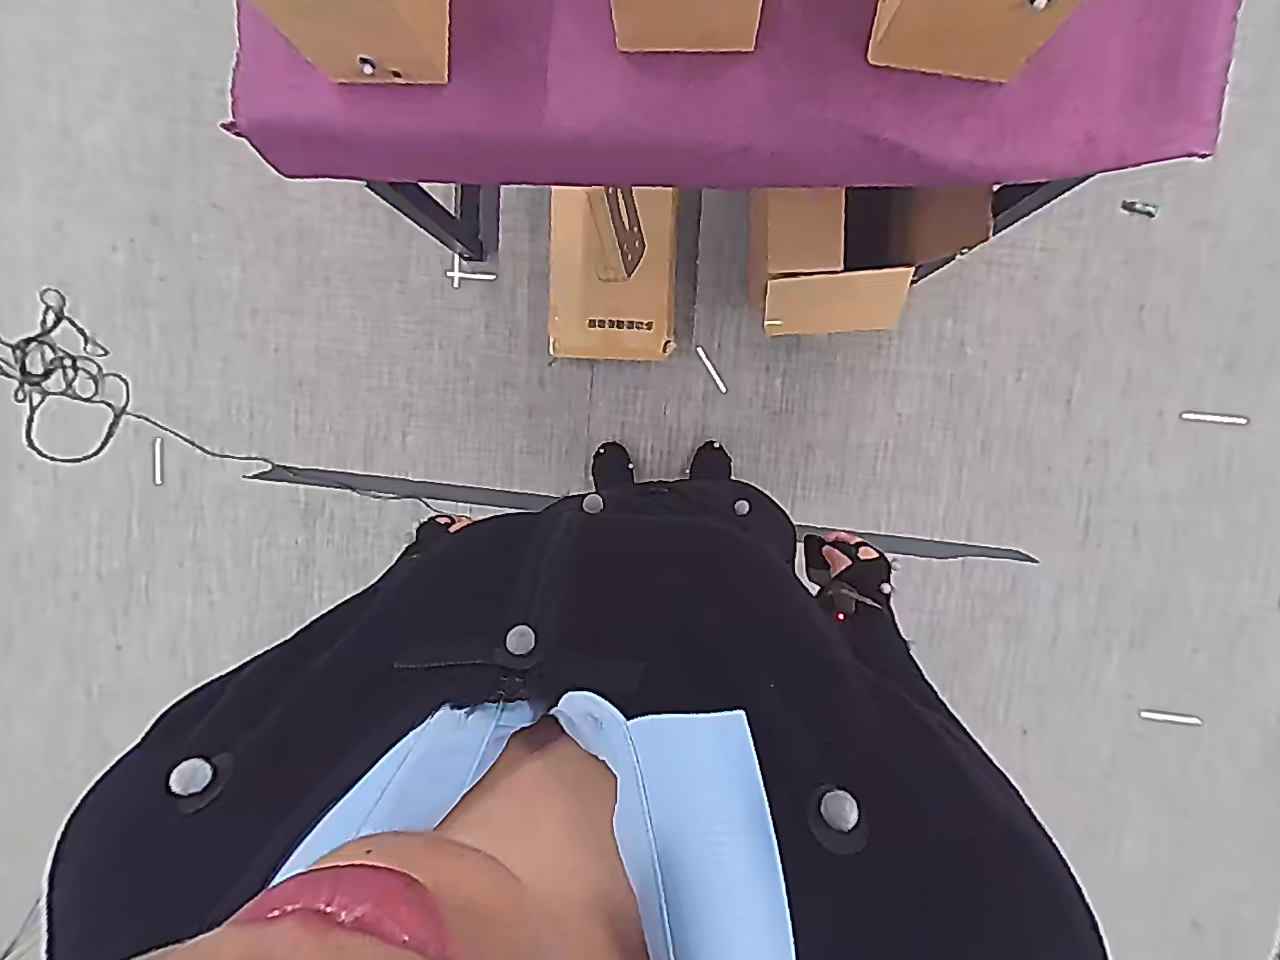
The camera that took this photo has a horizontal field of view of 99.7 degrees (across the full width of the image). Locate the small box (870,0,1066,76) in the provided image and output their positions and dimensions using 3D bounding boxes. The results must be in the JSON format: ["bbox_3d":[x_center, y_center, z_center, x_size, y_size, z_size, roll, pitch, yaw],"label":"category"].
[{"bbox_3d":[0.372,-0.578,0.581,0.179,0.176,0.168,10,97,3],"label":"small box"}]

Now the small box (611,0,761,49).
[{"bbox_3d":[0.056,-0.620,0.598,0.179,0.176,0.168,3,94,4],"label":"small box"}]
